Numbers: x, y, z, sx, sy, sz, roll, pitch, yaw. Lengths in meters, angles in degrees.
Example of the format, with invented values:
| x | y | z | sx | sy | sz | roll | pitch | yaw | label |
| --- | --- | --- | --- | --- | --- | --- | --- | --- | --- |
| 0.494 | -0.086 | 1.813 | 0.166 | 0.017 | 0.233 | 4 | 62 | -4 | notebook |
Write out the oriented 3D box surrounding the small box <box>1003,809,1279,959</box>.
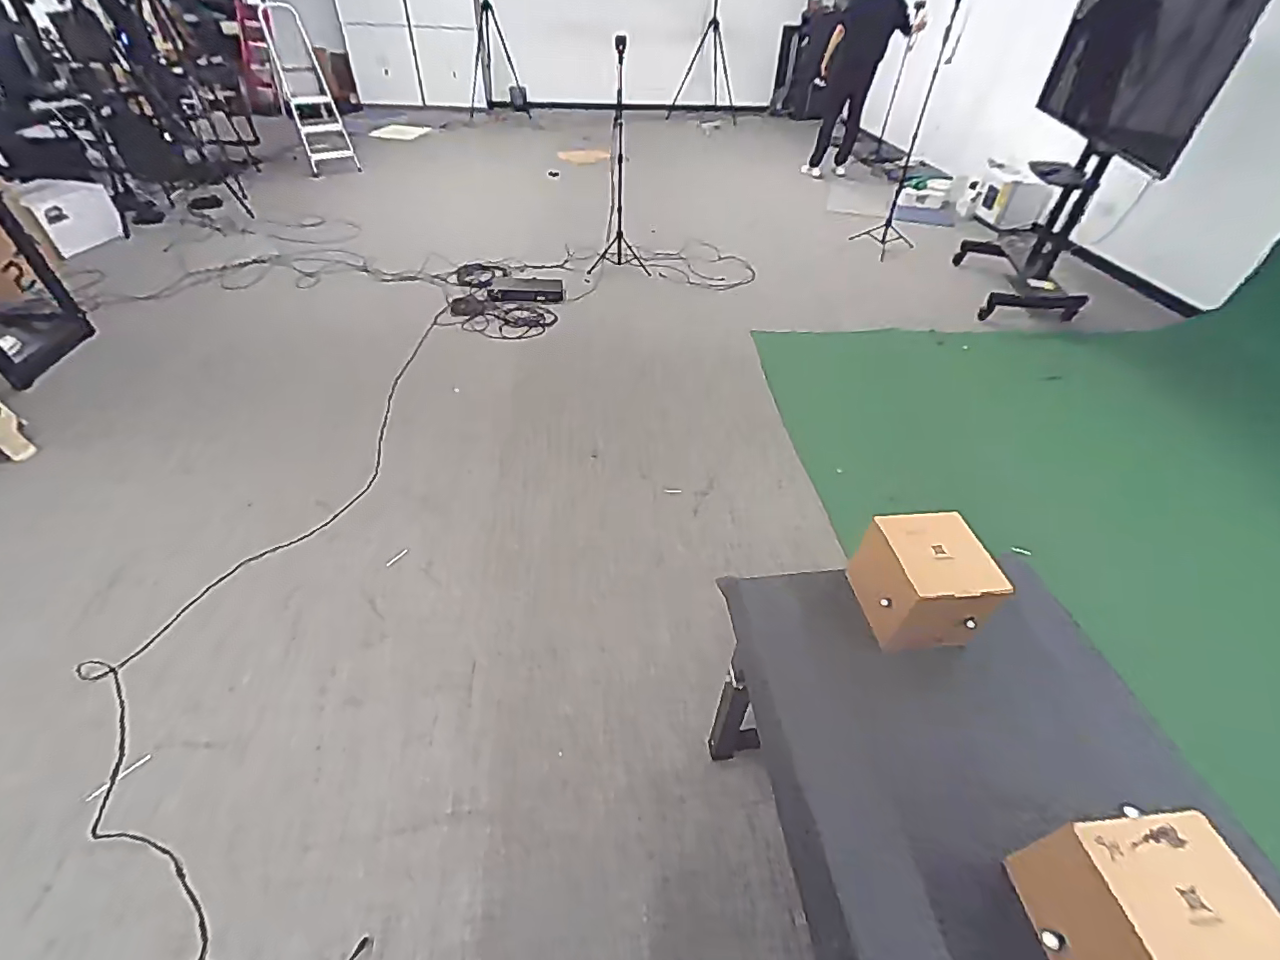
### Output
| x | y | z | sx | sy | sz | roll | pitch | yaw | label |
| --- | --- | --- | --- | --- | --- | --- | --- | --- | --- |
| 0.578 | 0.509 | 0.626 | 0.168 | 0.176 | 0.179 | -1 | 43 | -8 | small box |

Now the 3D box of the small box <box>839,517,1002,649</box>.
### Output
| x | y | z | sx | sy | sz | roll | pitch | yaw | label |
| --- | --- | --- | --- | --- | --- | --- | --- | --- | --- |
| 0.489 | 0.188 | 0.973 | 0.168 | 0.176 | 0.179 | -2 | 41 | -10 | small box |
